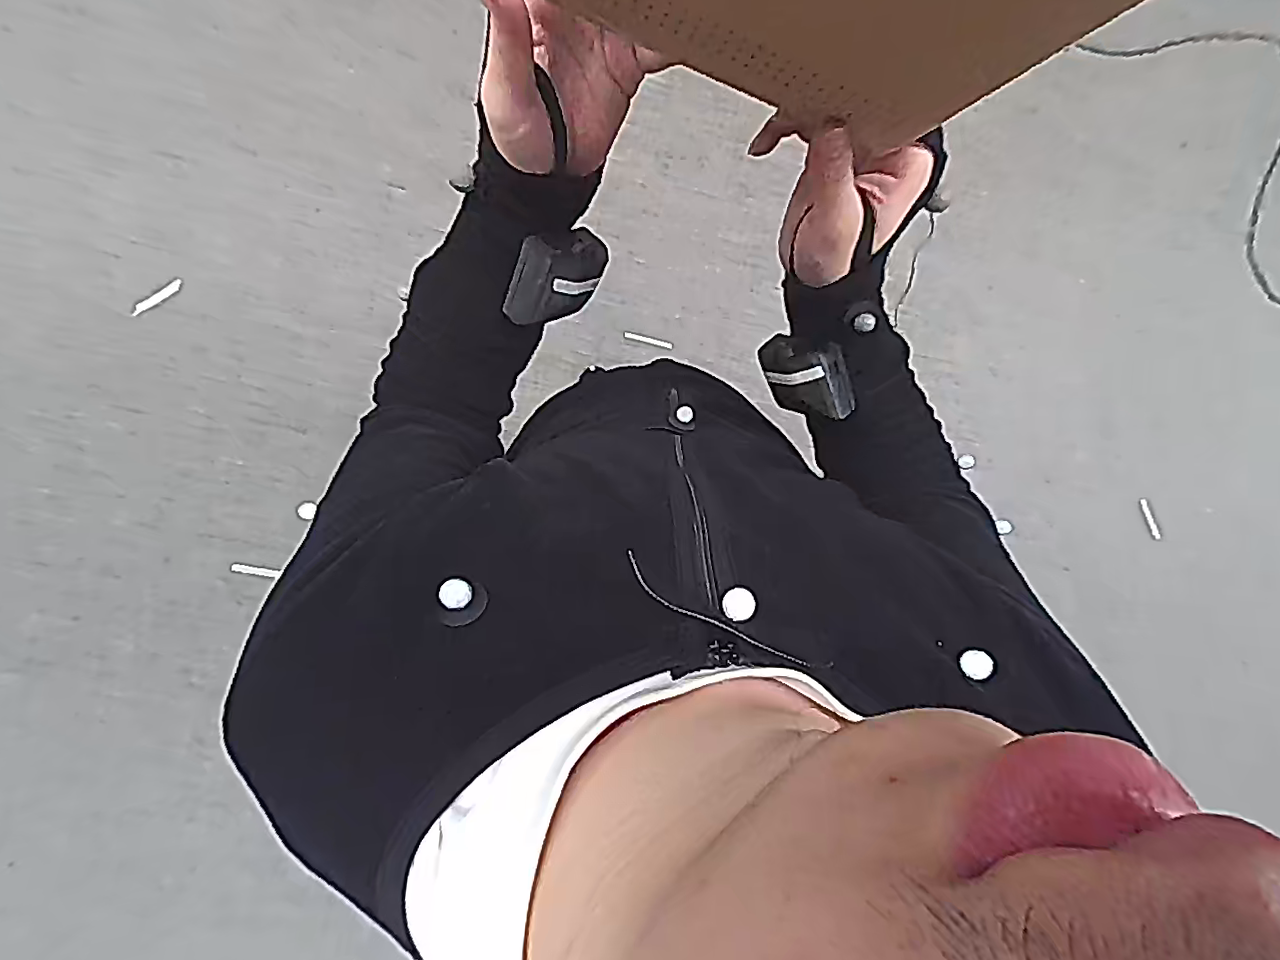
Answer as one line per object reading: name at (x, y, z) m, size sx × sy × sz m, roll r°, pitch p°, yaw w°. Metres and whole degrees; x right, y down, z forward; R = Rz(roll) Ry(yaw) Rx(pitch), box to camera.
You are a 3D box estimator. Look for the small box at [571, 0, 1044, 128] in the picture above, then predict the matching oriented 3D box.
small box at (0.073, -0.248, 0.164) m, size 0.179 × 0.176 × 0.168 m, roll 13°, pitch 98°, yaw -15°
